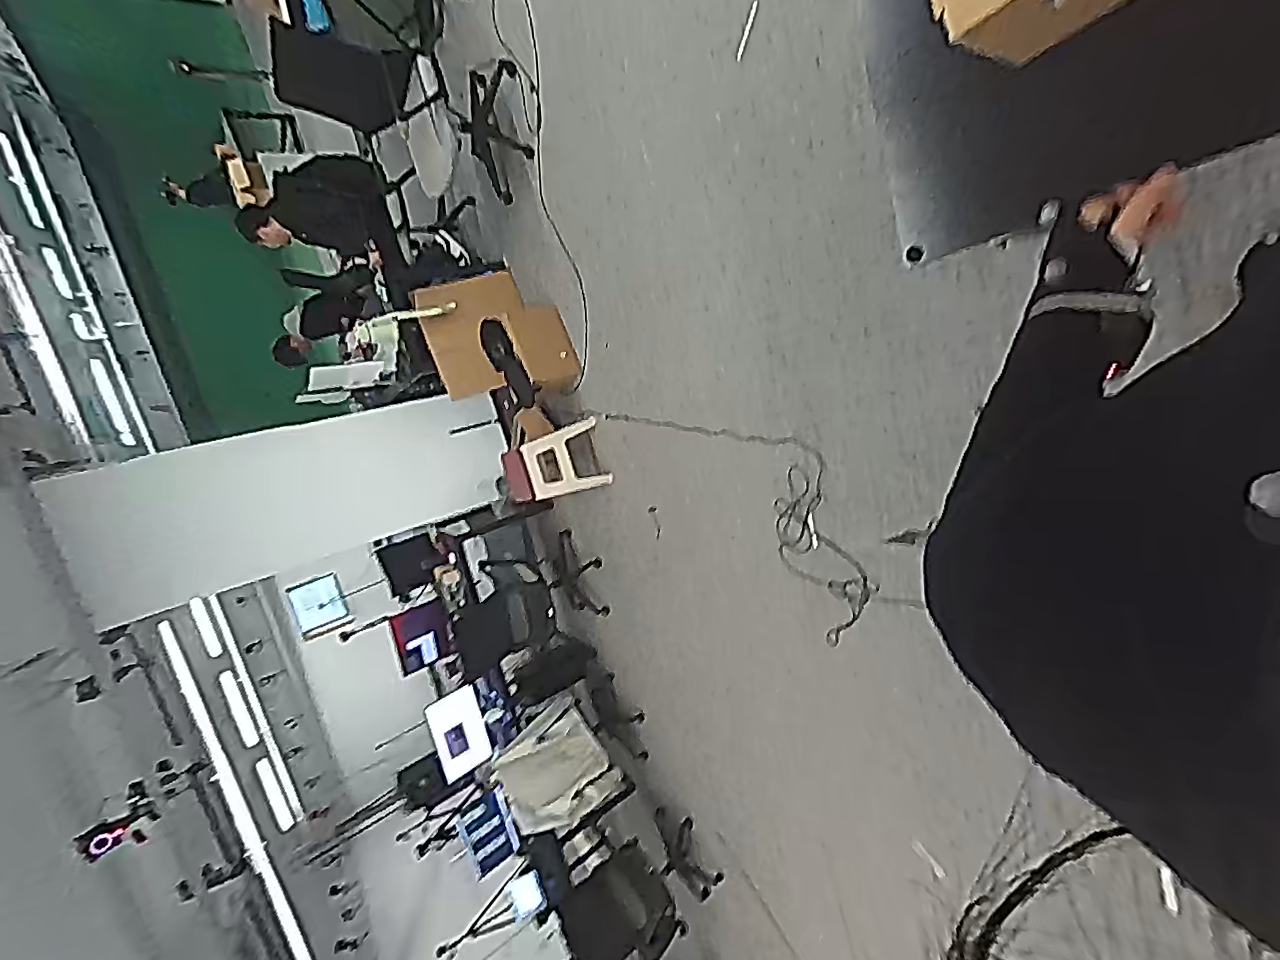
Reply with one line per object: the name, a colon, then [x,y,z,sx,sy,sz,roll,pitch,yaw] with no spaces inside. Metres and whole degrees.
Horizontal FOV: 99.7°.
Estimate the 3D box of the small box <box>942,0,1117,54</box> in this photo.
small box: [0.384,-0.523,0.478,0.179,0.176,0.168,-6,102,56]
